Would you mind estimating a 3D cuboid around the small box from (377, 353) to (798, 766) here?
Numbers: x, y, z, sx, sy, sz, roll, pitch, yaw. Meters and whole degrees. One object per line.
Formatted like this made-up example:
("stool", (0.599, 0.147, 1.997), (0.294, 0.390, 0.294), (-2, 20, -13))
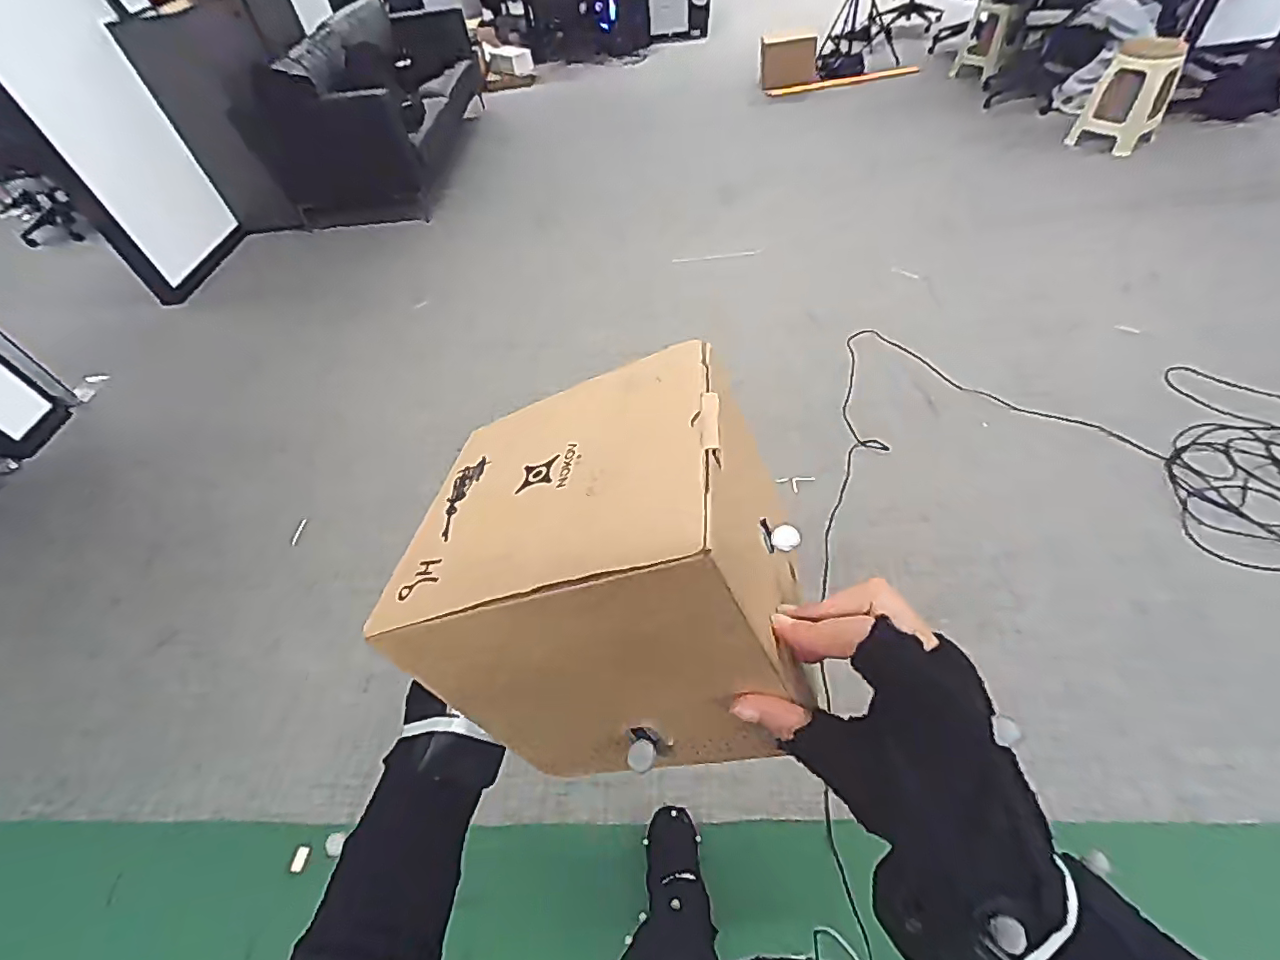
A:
("small box", (-0.009, 0.056, 0.338), (0.179, 0.176, 0.168), (-17, 36, 21))
